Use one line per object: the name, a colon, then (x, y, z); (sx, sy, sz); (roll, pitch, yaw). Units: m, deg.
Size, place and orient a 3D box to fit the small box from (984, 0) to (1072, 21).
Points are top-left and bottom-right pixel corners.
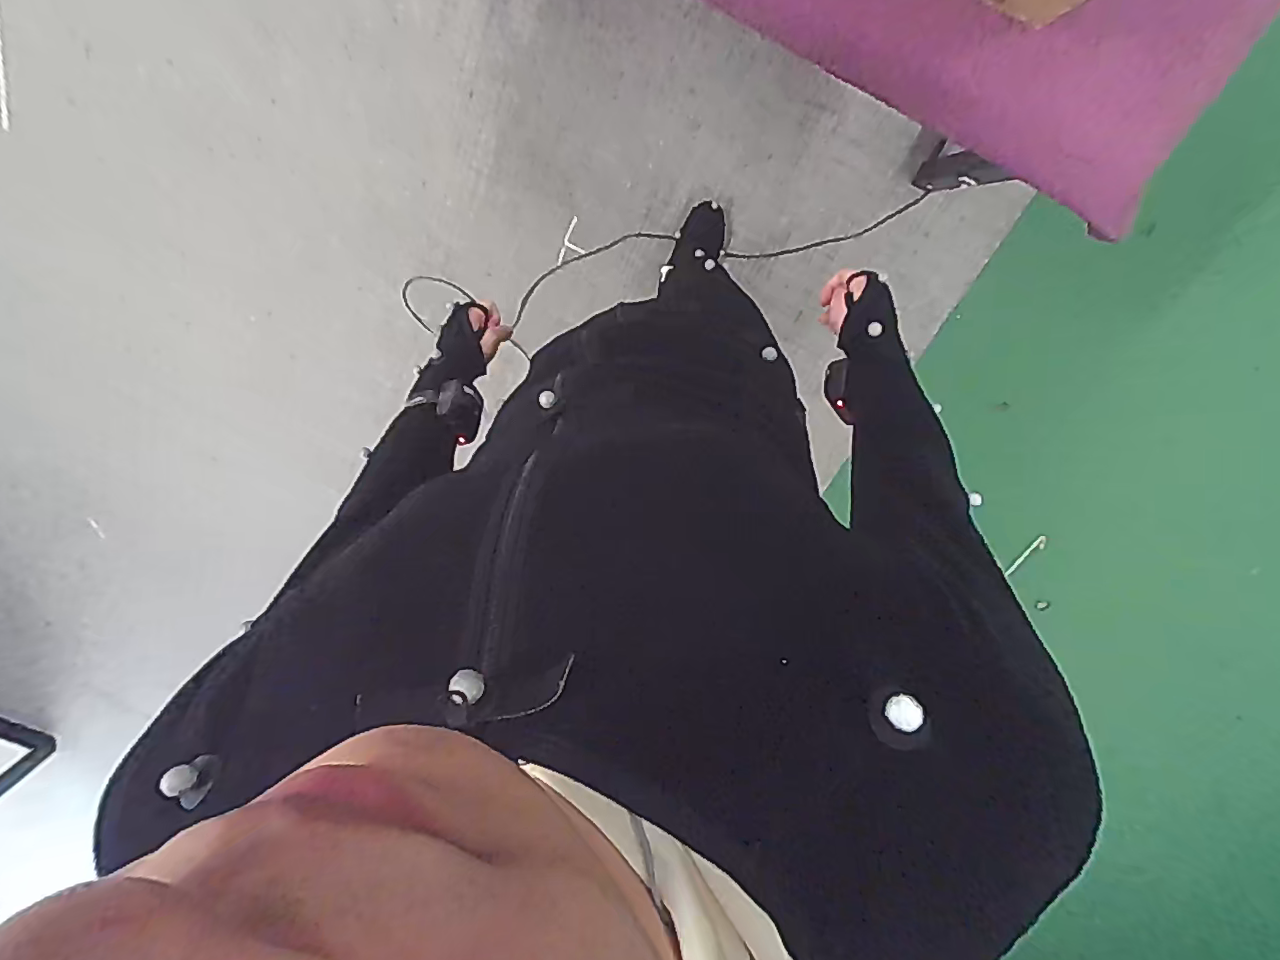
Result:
small box: (0.396, -0.581, 0.494); (0.168, 0.176, 0.179); (24, 115, -4)
